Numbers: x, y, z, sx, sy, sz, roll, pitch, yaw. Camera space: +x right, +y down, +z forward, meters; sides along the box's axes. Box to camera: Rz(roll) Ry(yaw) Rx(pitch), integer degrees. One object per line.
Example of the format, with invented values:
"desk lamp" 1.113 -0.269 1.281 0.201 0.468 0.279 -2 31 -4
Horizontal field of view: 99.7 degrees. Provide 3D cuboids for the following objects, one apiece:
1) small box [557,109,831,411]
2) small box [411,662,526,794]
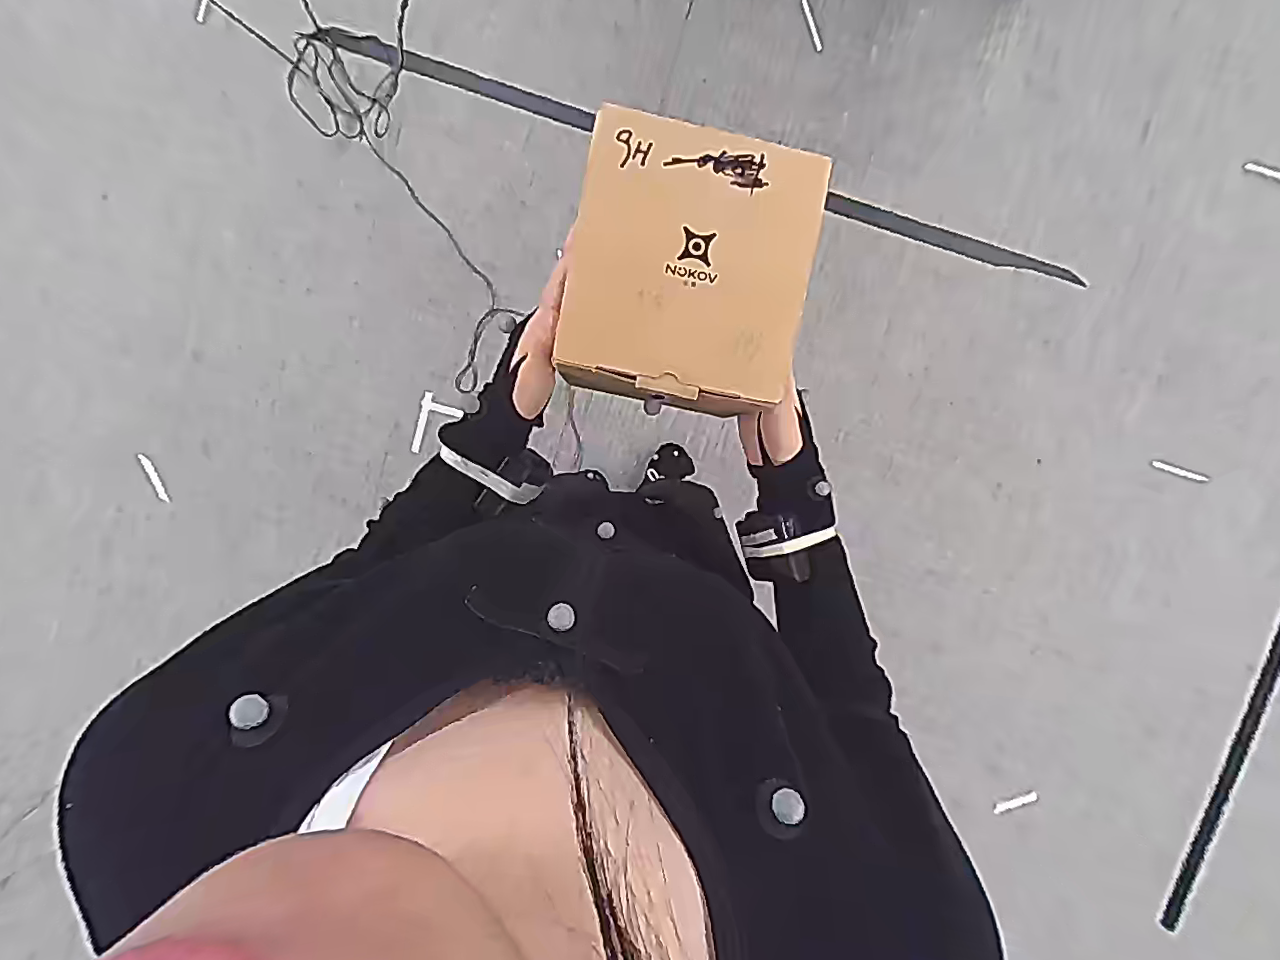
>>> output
"small box" 0.033 -0.158 0.456 0.168 0.176 0.179 11 94 -5
"small box" -0.319 0.458 0.989 0.168 0.176 0.179 14 94 2
